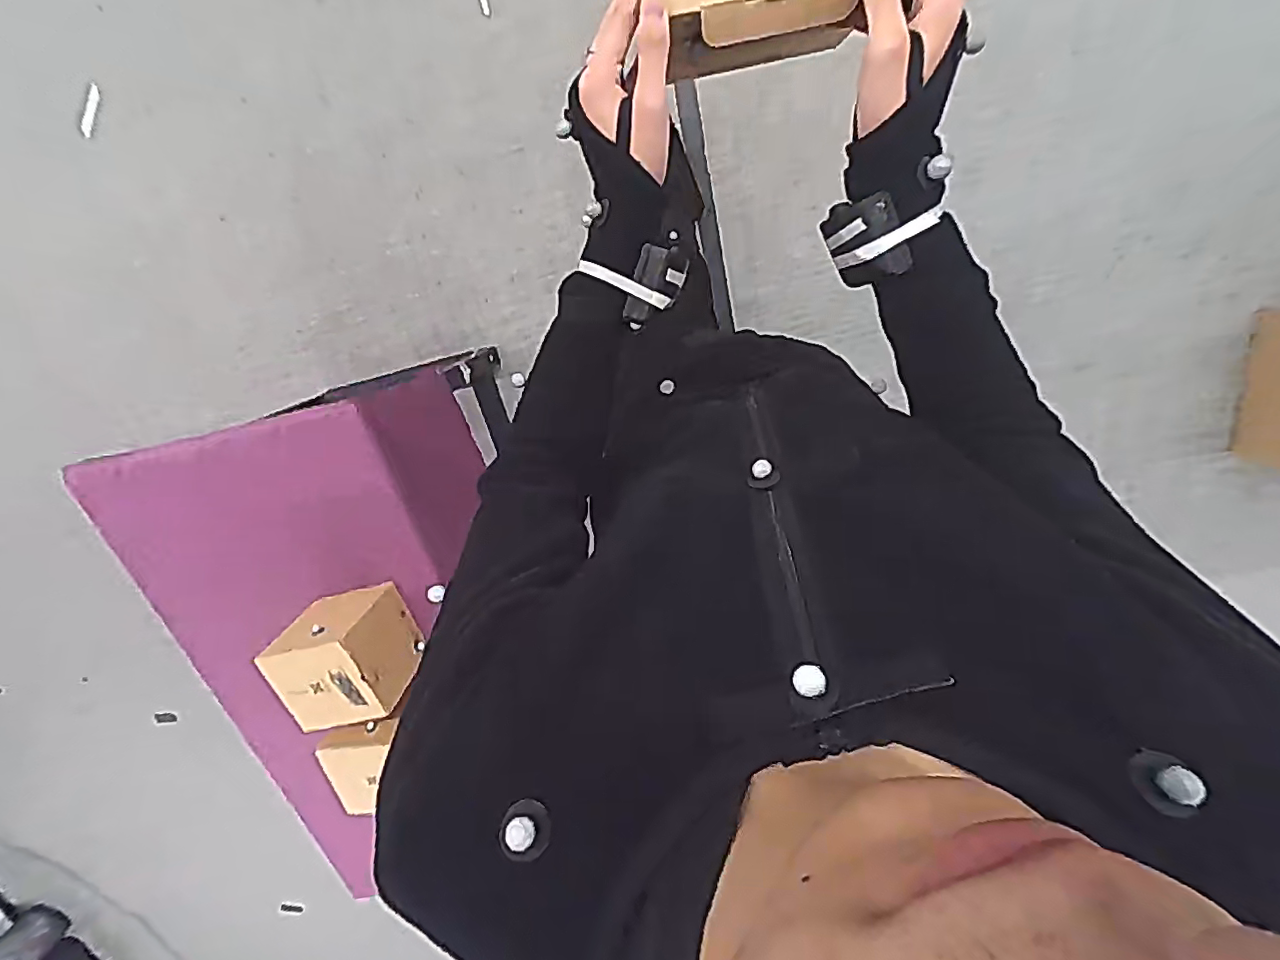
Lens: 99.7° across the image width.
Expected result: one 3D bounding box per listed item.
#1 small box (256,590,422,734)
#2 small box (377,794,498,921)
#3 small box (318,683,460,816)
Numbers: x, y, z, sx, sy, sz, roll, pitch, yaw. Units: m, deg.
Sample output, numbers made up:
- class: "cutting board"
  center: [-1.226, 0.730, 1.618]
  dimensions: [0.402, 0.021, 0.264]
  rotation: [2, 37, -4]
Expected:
- class: "small box"
  center: [-0.521, 0.319, 0.973]
  dimensions: [0.179, 0.176, 0.168]
  rotation: [-15, 111, 12]
- class: "small box"
  center: [-0.428, 0.810, 1.172]
  dimensions: [0.179, 0.176, 0.168]
  rotation: [-2, 113, 5]
- class: "small box"
  center: [-0.472, 0.518, 1.055]
  dimensions: [0.179, 0.176, 0.168]
  rotation: [-8, 111, 8]
